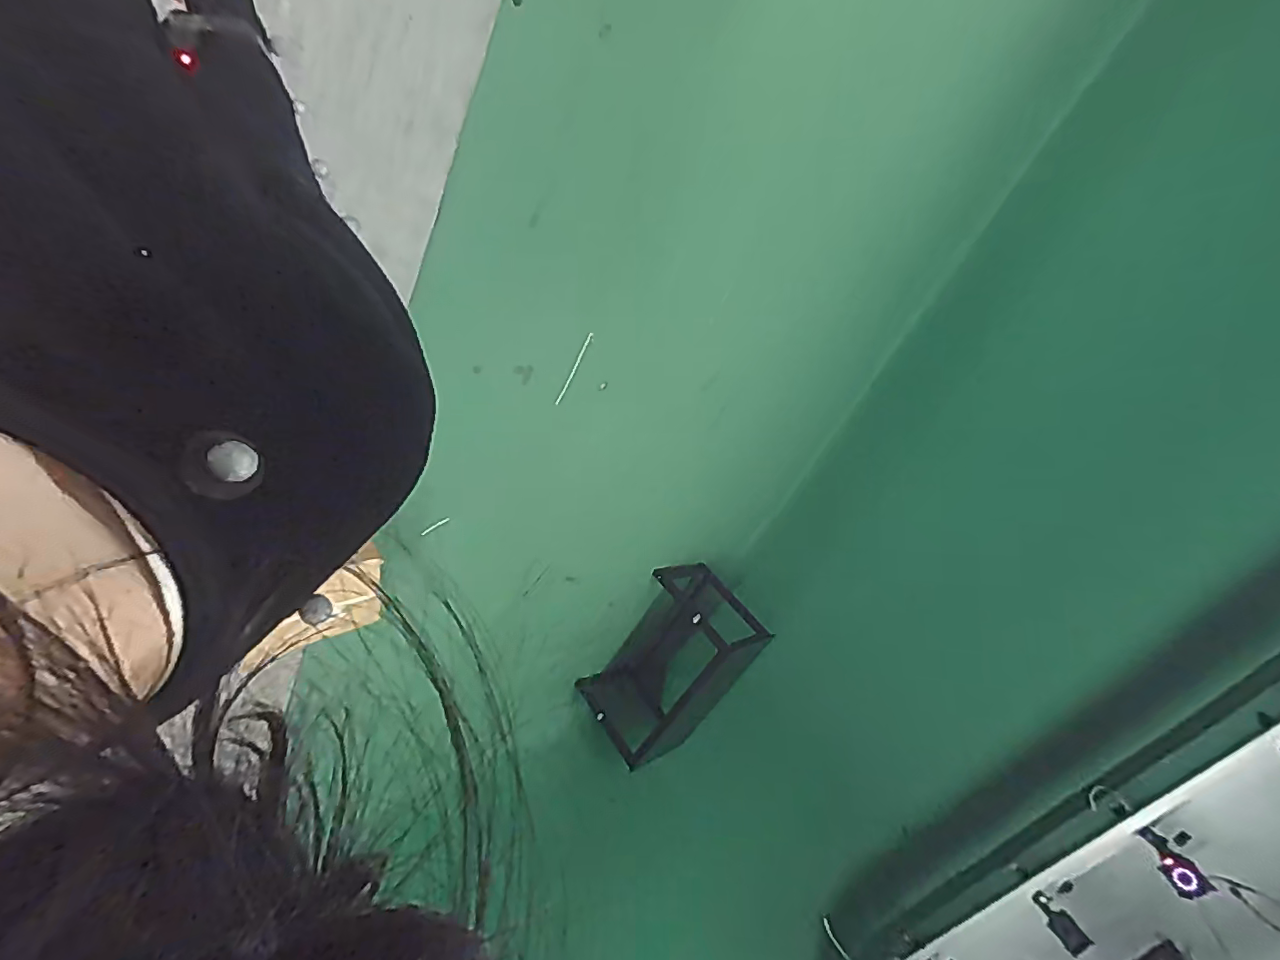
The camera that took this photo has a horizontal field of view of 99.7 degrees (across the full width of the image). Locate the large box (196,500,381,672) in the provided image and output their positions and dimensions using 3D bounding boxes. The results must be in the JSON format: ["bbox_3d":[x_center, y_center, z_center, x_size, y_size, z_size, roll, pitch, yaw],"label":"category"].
[{"bbox_3d":[-1.062,0.306,1.664,0.408,0.320,0.320,-15,138,-39],"label":"large box"}]
